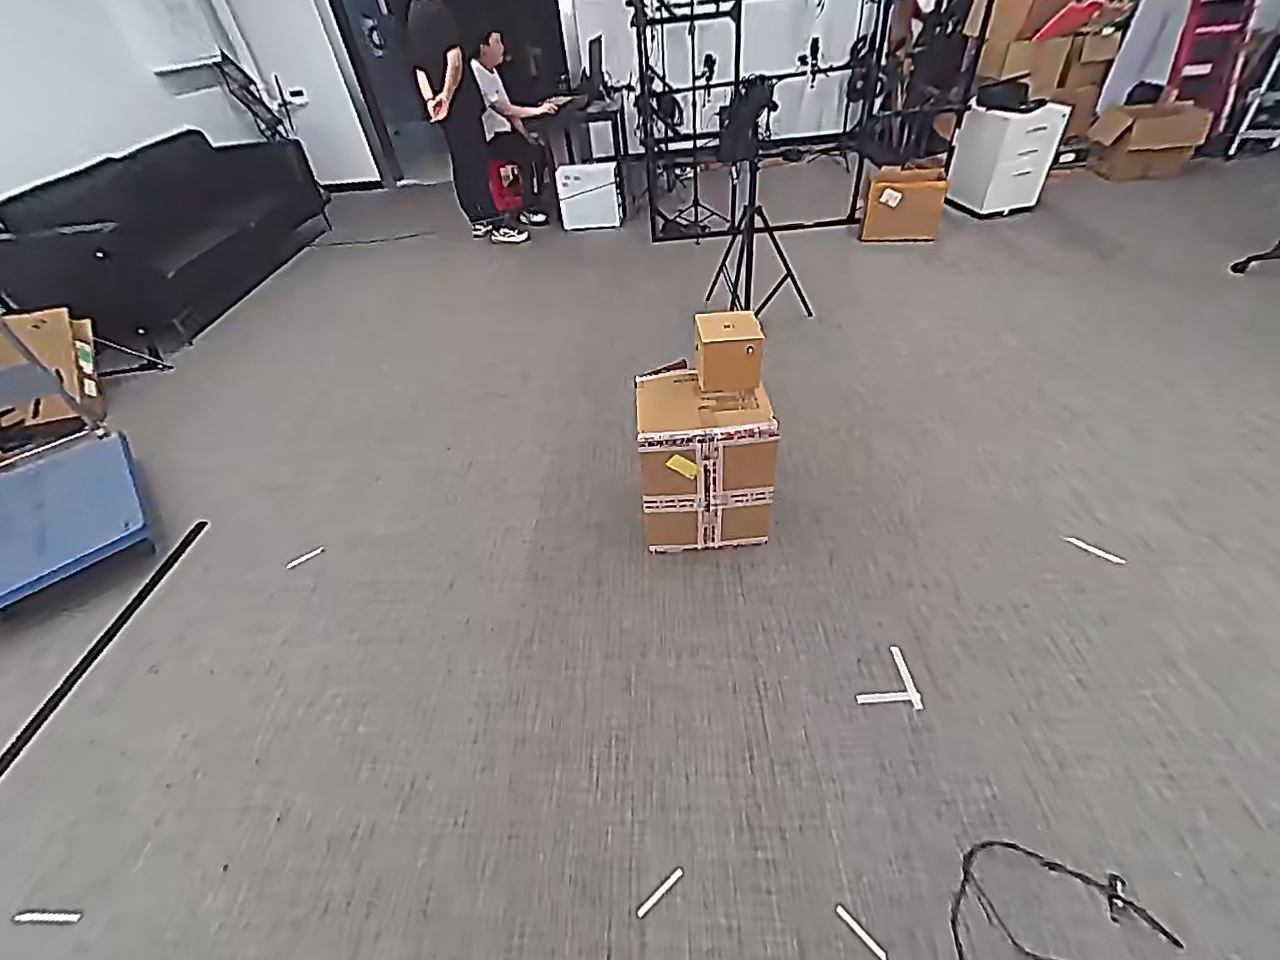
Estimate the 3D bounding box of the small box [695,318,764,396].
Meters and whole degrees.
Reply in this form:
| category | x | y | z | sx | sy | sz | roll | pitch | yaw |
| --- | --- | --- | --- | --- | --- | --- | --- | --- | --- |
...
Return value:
| category | x | y | z | sx | sy | sz | roll | pitch | yaw |
| --- | --- | --- | --- | --- | --- | --- | --- | --- | --- |
| small box | 0.261 | -0.363 | 1.612 | 0.179 | 0.176 | 0.168 | -4 | 44 | -1 |
